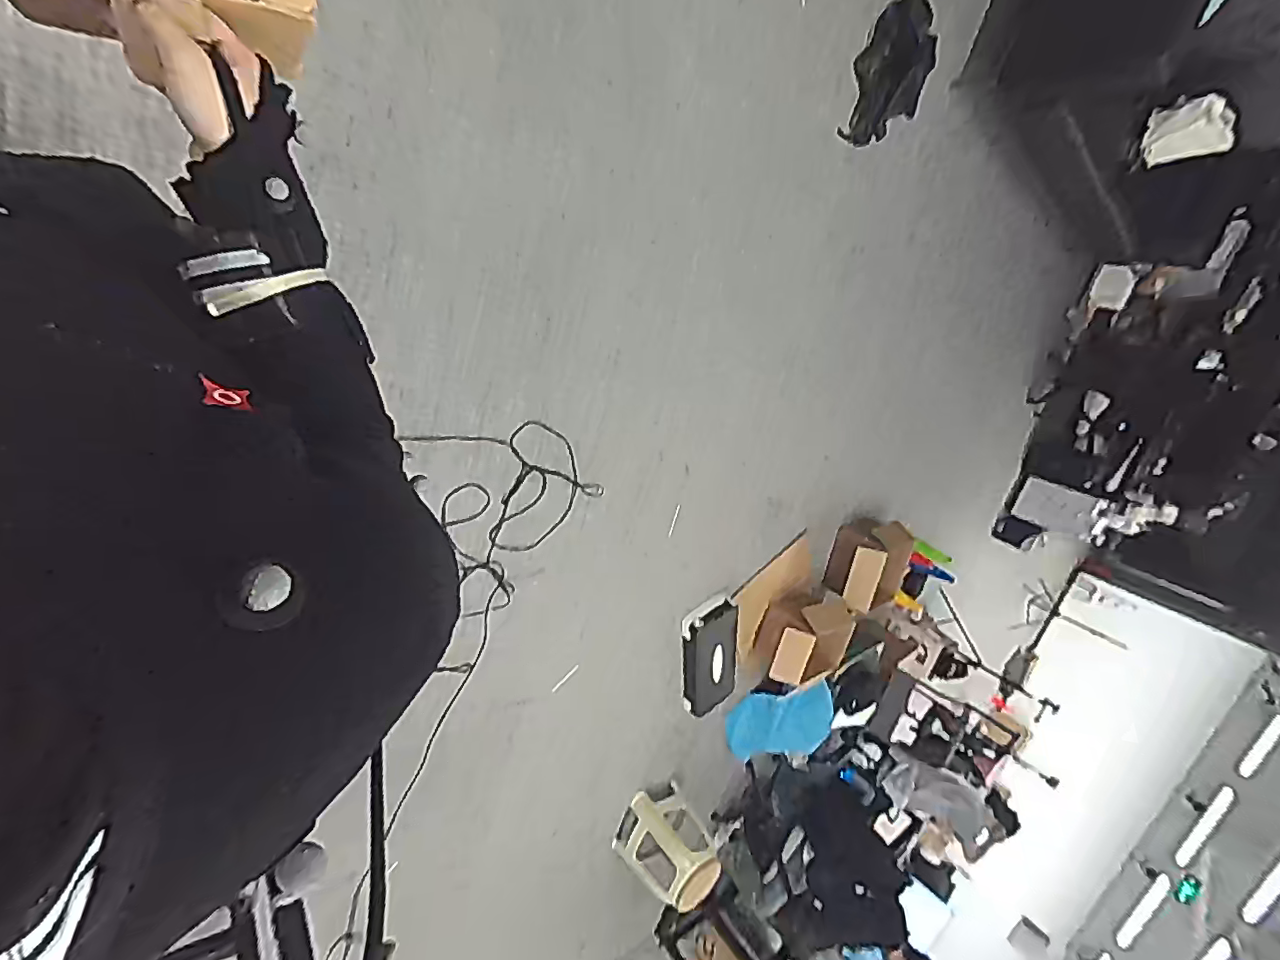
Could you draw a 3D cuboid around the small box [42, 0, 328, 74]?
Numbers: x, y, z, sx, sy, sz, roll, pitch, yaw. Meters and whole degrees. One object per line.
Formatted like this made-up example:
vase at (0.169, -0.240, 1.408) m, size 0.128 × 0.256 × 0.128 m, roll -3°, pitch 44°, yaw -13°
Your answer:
small box at (-0.304, -0.390, 0.331) m, size 0.168 × 0.176 × 0.179 m, roll -9°, pitch 115°, yaw -34°
